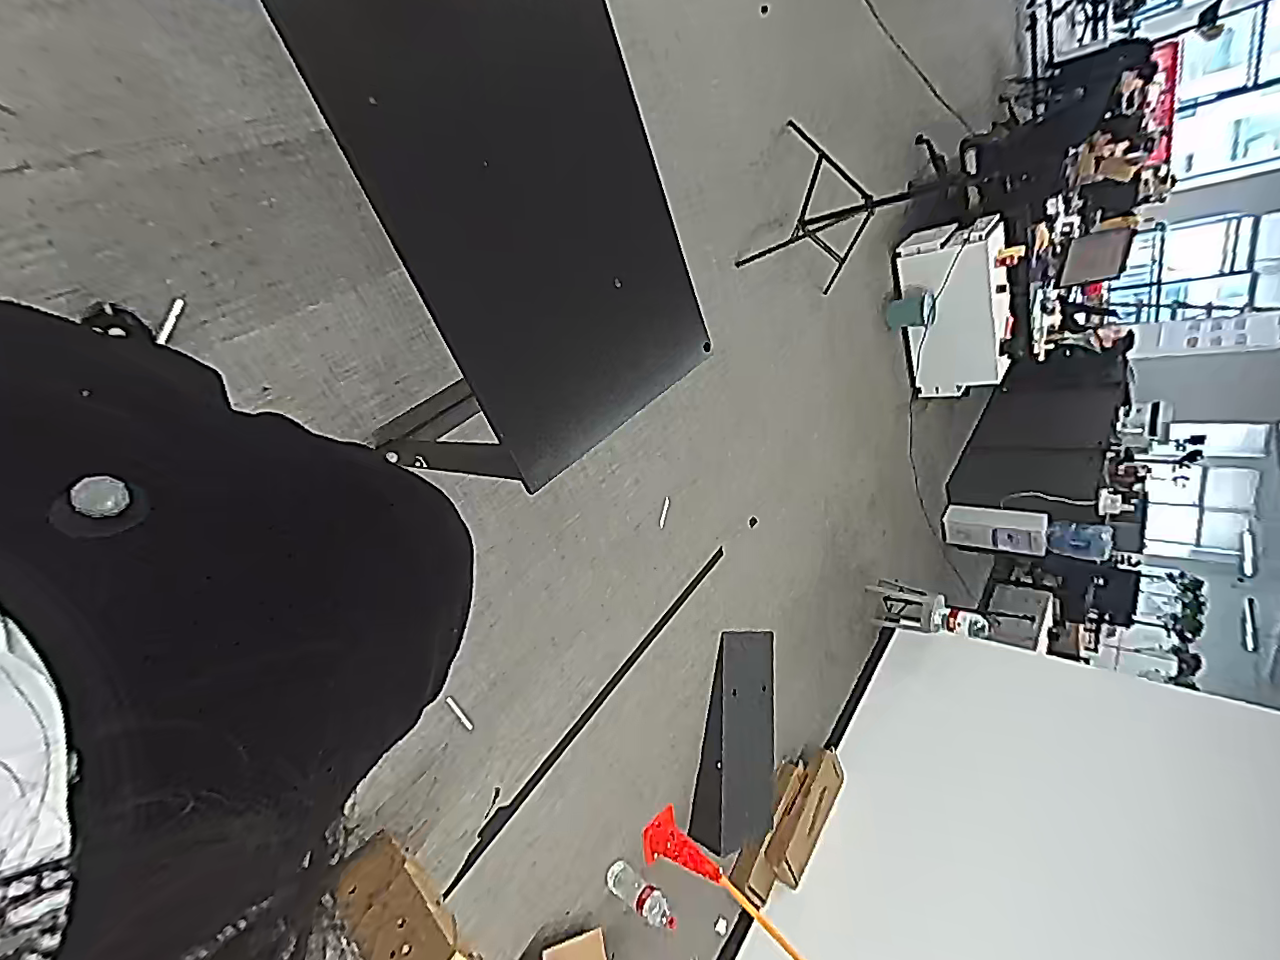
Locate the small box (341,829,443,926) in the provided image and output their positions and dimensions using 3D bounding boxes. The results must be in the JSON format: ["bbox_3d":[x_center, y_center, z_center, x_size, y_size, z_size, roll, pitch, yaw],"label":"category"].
[{"bbox_3d":[-0.684,1.114,1.478,0.179,0.176,0.168,-43,123,-34],"label":"small box"}]

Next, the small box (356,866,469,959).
[{"bbox_3d":[-0.571,1.126,1.359,0.168,0.176,0.179,-44,124,-32],"label":"small box"}]

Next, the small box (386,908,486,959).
[{"bbox_3d":[-0.459,1.141,1.239,0.168,0.176,0.179,-44,122,-32],"label":"small box"}]
